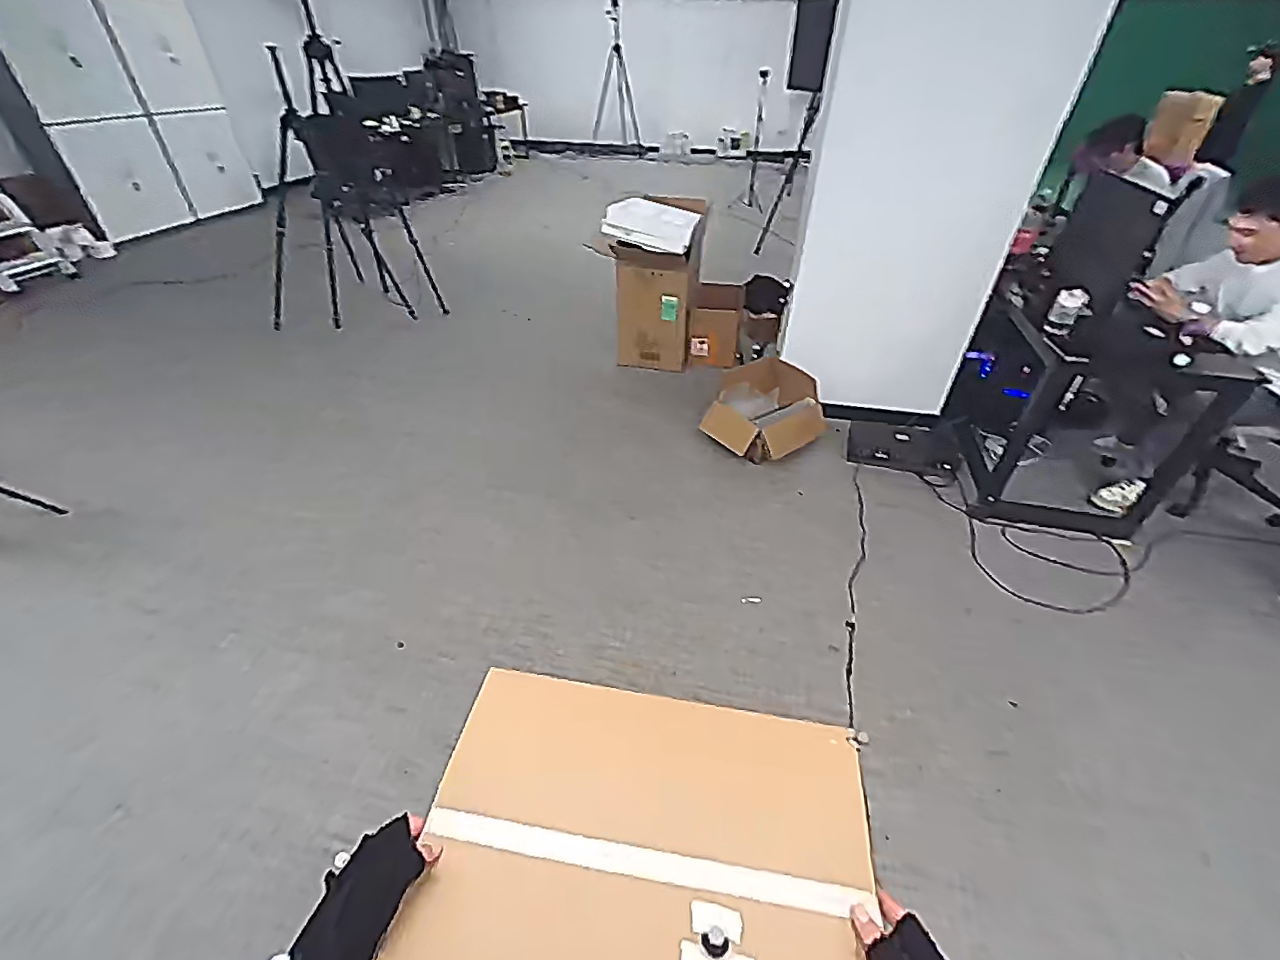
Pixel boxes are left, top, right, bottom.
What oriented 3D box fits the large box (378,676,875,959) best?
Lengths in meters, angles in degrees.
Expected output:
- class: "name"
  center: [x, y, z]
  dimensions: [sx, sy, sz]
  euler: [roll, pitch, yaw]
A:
- class: "large box"
  center: [-0.006, 0.457, 0.582]
  dimensions: [0.408, 0.320, 0.320]
  euler: [8, 41, 5]
